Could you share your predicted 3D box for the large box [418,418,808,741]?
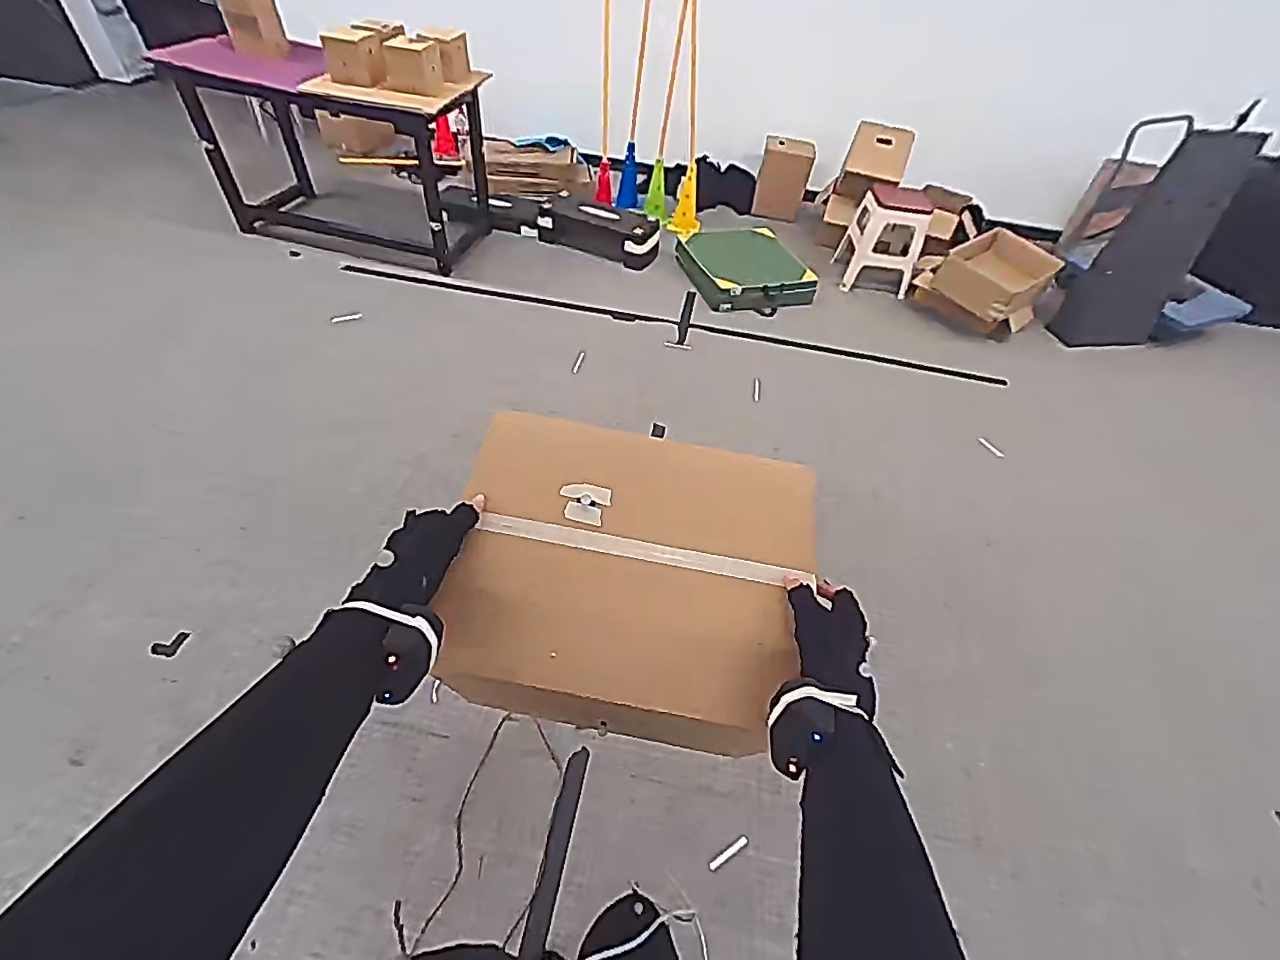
[{"bbox_3d":[-0.014,0.154,0.742,0.408,0.320,0.320,10,59,1],"label":"large box"}]
